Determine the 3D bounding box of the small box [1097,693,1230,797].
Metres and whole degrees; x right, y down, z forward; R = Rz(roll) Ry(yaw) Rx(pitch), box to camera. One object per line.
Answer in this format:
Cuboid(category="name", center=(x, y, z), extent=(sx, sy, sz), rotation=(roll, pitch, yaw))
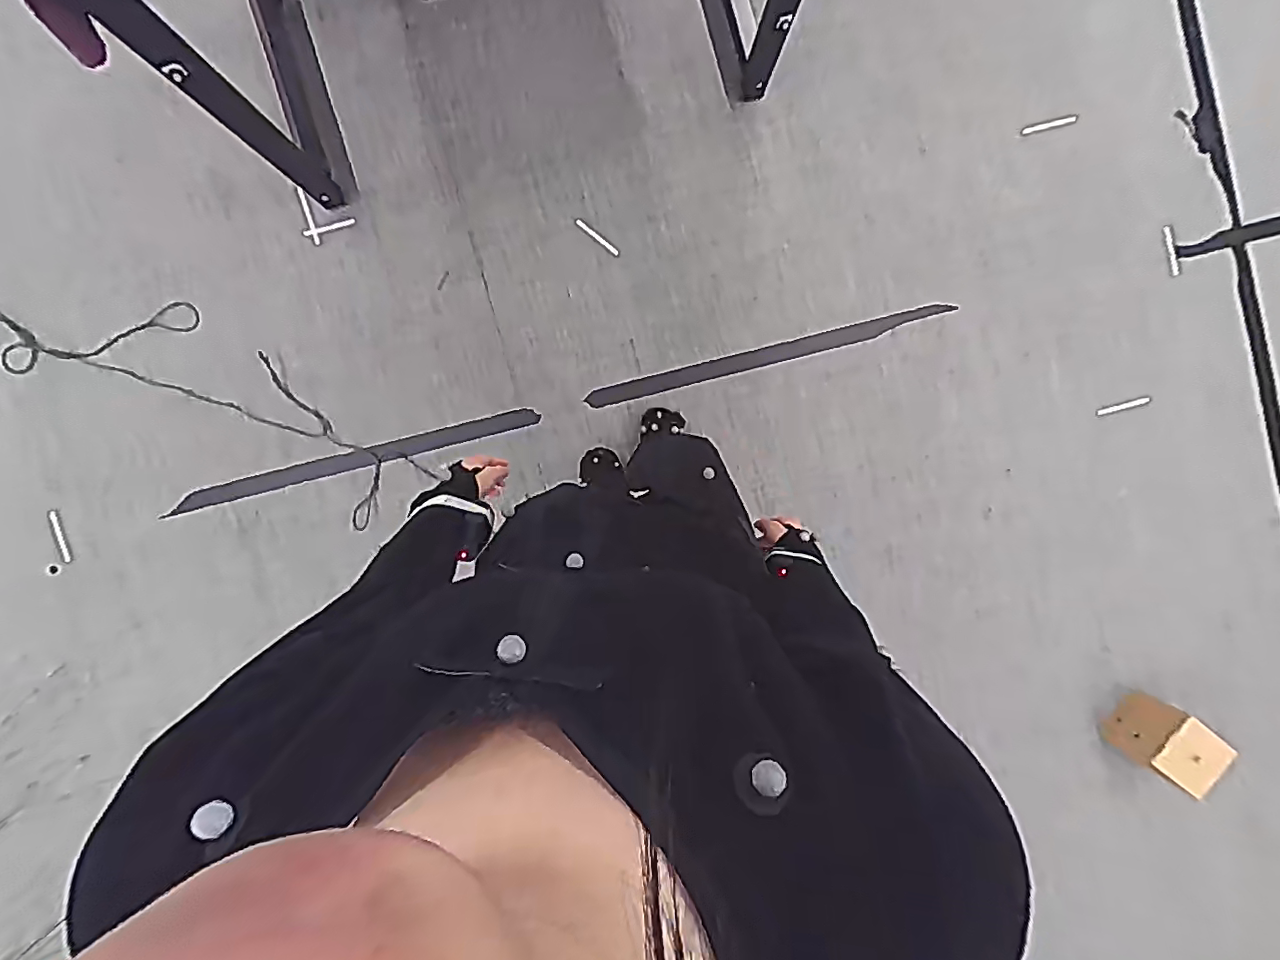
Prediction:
Cuboid(category="small box", center=(1.456, 0.731, 1.518), extent=(0.179, 0.176, 0.168), rotation=(37, 92, -5))
